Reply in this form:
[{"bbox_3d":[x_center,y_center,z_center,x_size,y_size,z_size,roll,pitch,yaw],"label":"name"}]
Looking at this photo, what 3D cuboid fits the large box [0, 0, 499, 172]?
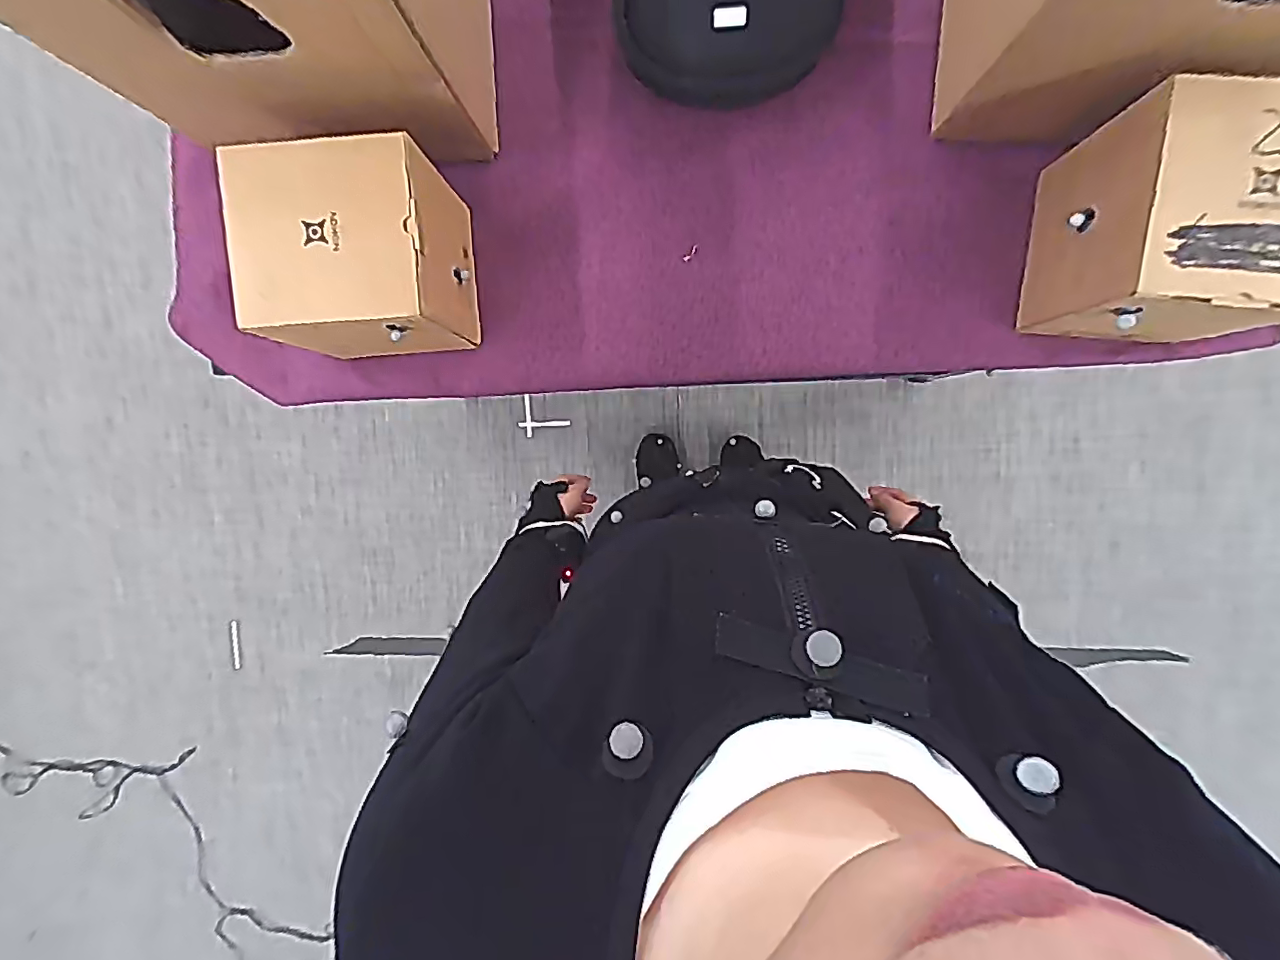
[{"bbox_3d":[-0.333,-0.558,0.484,0.320,0.320,0.408,-2,98,3],"label":"large box"}]
